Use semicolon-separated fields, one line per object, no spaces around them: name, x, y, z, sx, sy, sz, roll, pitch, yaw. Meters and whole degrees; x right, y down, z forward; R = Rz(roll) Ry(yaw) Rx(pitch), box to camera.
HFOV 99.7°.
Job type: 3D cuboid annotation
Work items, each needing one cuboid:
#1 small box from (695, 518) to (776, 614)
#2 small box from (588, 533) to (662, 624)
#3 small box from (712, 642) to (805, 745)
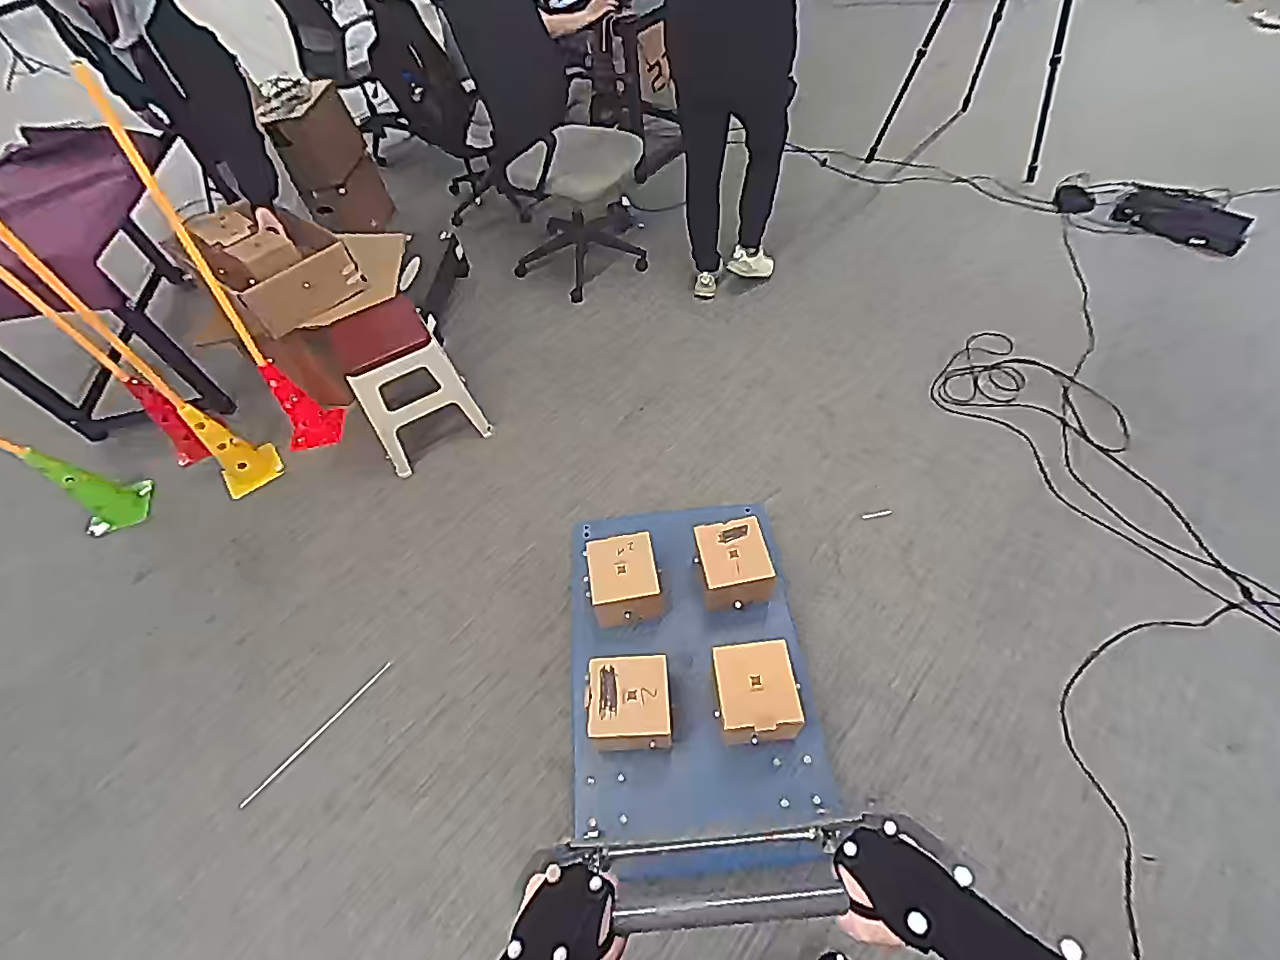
small box;0.239;0.224;1.400;0.168;0.176;0.179;-10;56;-1
small box;-0.037;0.262;1.398;0.168;0.176;0.179;-9;55;-2
small box;0.257;0.483;1.220;0.168;0.176;0.179;-6;56;1
